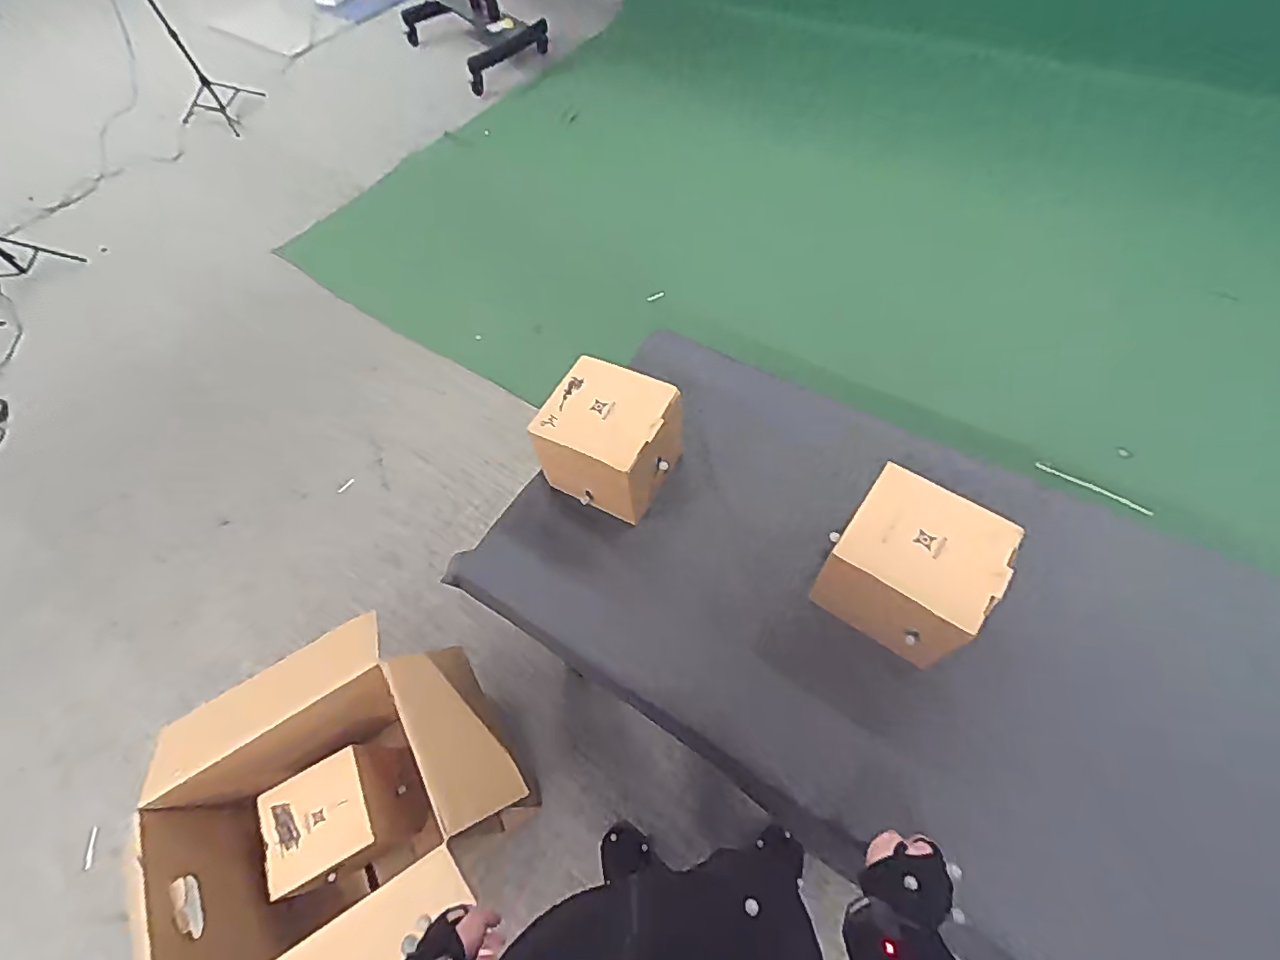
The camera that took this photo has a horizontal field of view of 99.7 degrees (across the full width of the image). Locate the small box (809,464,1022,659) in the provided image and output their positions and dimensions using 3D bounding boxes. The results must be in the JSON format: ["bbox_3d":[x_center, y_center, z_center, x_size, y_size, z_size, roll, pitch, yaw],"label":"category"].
[{"bbox_3d":[0.353,0.116,0.723,0.179,0.176,0.168,31,65,22],"label":"small box"}]

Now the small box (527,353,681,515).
[{"bbox_3d":[-0.047,-0.065,0.866,0.179,0.176,0.168,24,64,17],"label":"small box"}]
